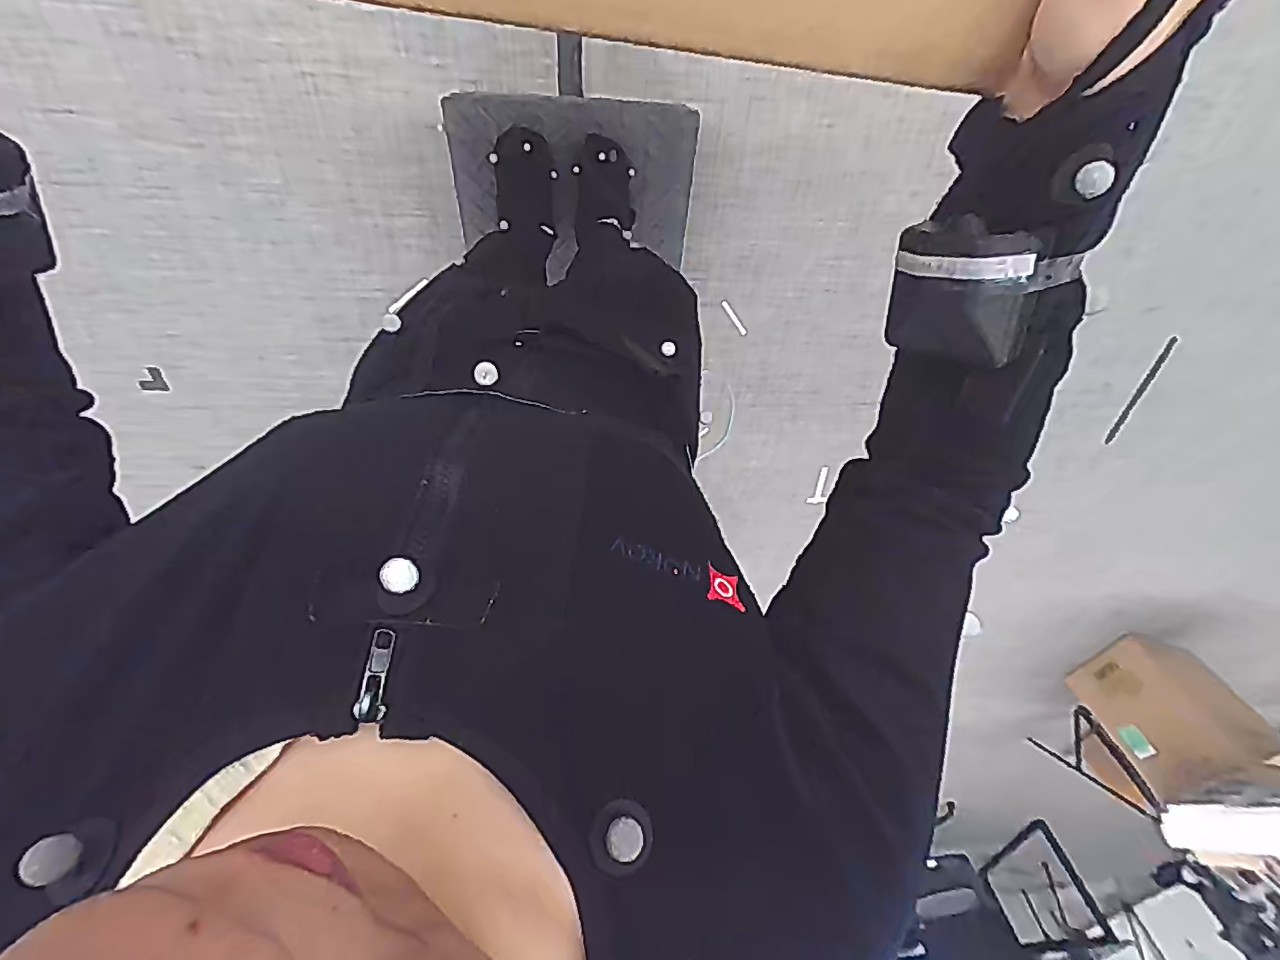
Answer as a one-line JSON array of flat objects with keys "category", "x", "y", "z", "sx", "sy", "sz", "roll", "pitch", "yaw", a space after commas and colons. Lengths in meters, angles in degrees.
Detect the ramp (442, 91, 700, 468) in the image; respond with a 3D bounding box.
[{"category": "ramp", "x": -0.157, "y": -0.382, "z": 1.381, "sx": 0.509, "sy": 0.206, "sz": 0.991, "roll": -2, "pitch": 128, "yaw": -6}]
